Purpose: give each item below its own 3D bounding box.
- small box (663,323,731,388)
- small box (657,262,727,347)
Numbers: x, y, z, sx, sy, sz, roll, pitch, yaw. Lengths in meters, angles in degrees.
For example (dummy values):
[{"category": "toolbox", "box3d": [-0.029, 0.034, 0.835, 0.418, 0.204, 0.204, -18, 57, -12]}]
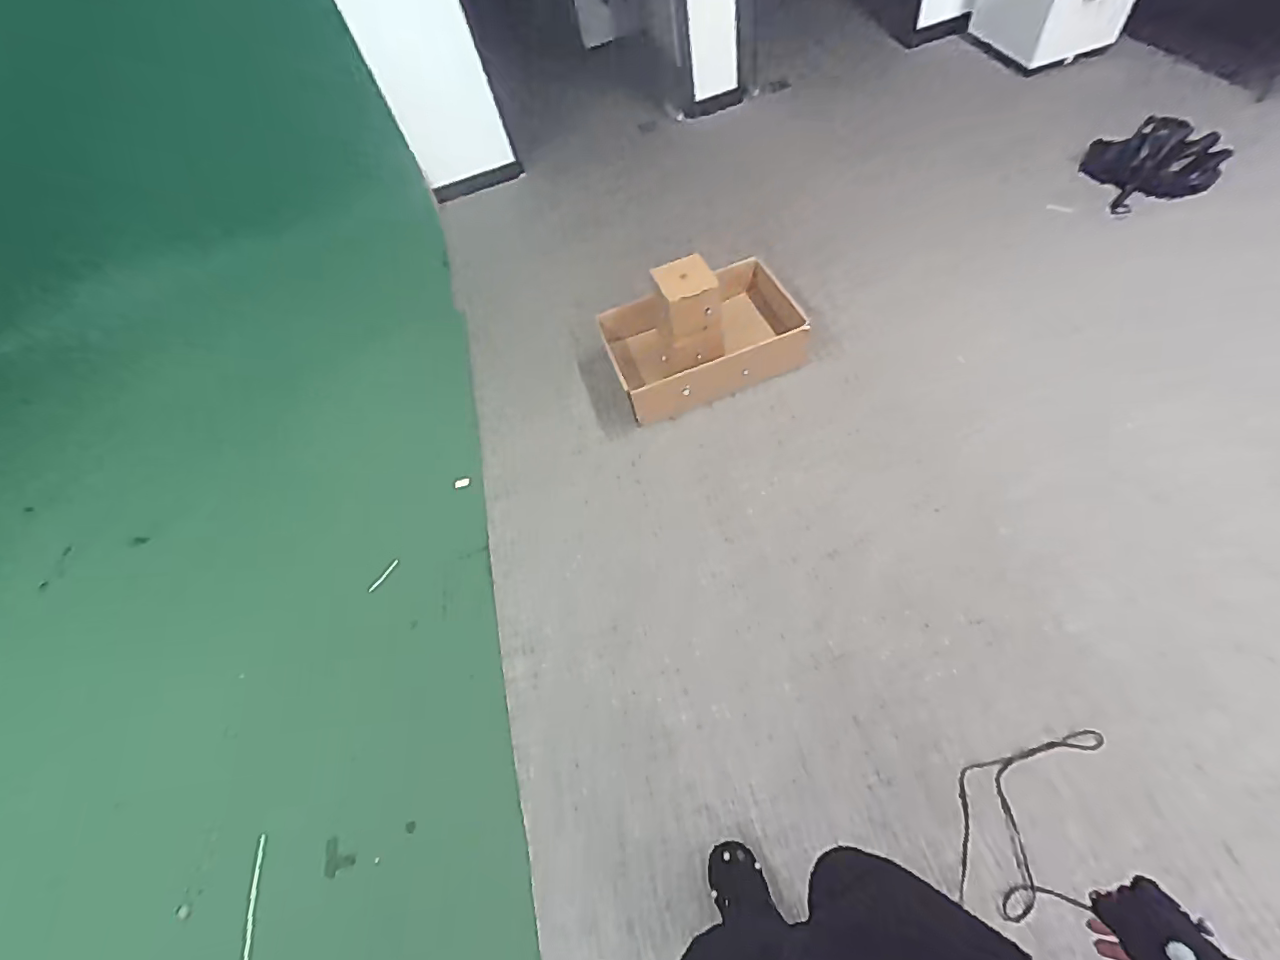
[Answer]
[{"category": "small box", "box3d": [0.192, -0.439, 1.803, 0.179, 0.176, 0.168, -22, 54, -2]}, {"category": "small box", "box3d": [0.166, -0.536, 1.677, 0.168, 0.176, 0.179, -19, 53, -4]}]
